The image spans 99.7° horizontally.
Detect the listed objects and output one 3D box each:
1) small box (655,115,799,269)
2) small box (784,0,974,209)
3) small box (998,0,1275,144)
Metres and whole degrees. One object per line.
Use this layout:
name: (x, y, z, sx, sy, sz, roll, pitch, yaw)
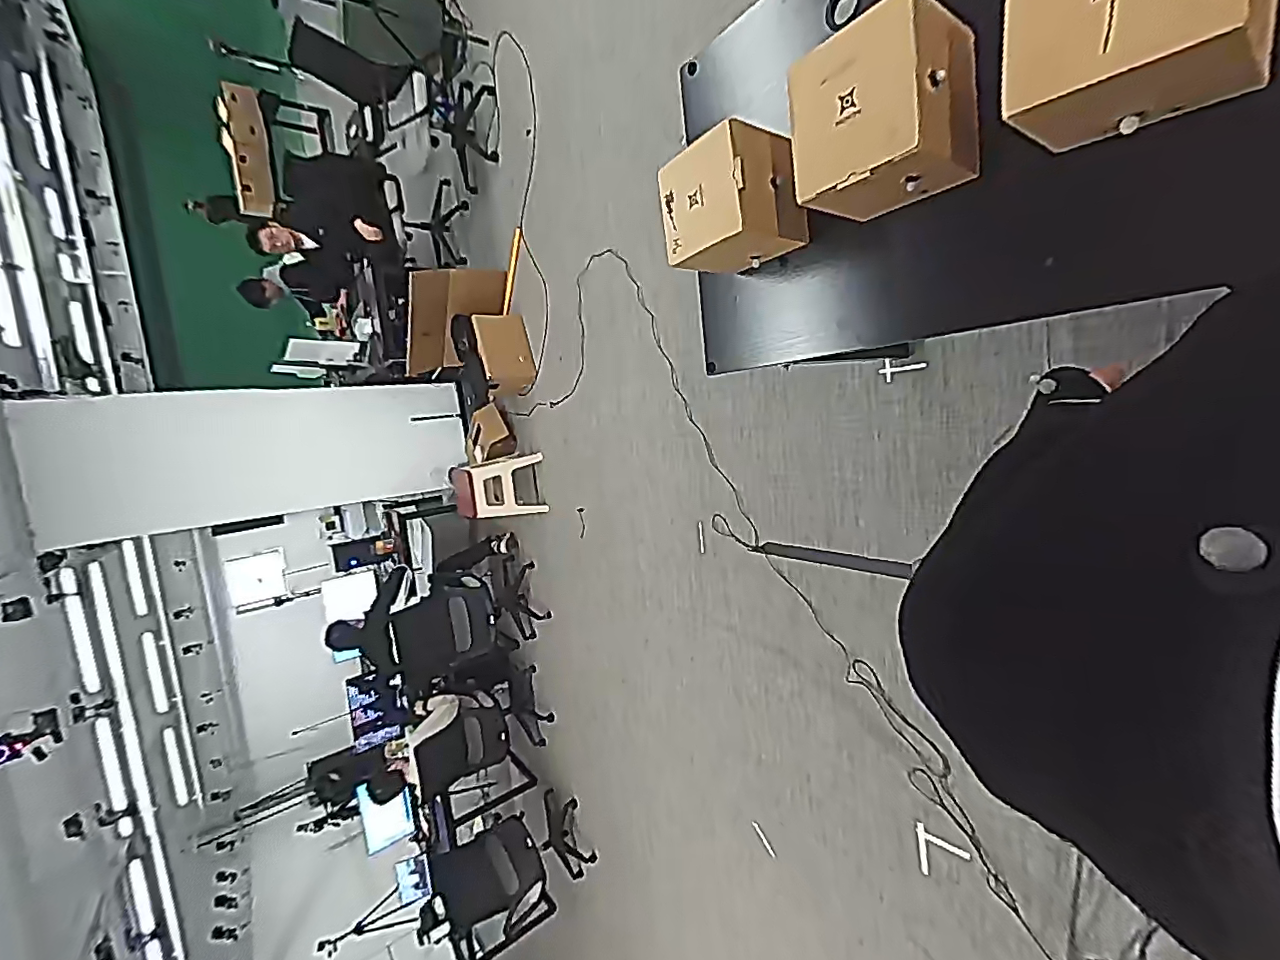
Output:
small box: (0.152, -0.468, 0.909, 0.179, 0.176, 0.168, -1, 98, 52)
small box: (0.311, -0.471, 0.701, 0.168, 0.176, 0.179, 1, 99, 52)
small box: (0.461, -0.451, 0.502, 0.168, 0.176, 0.179, 9, 106, 52)
